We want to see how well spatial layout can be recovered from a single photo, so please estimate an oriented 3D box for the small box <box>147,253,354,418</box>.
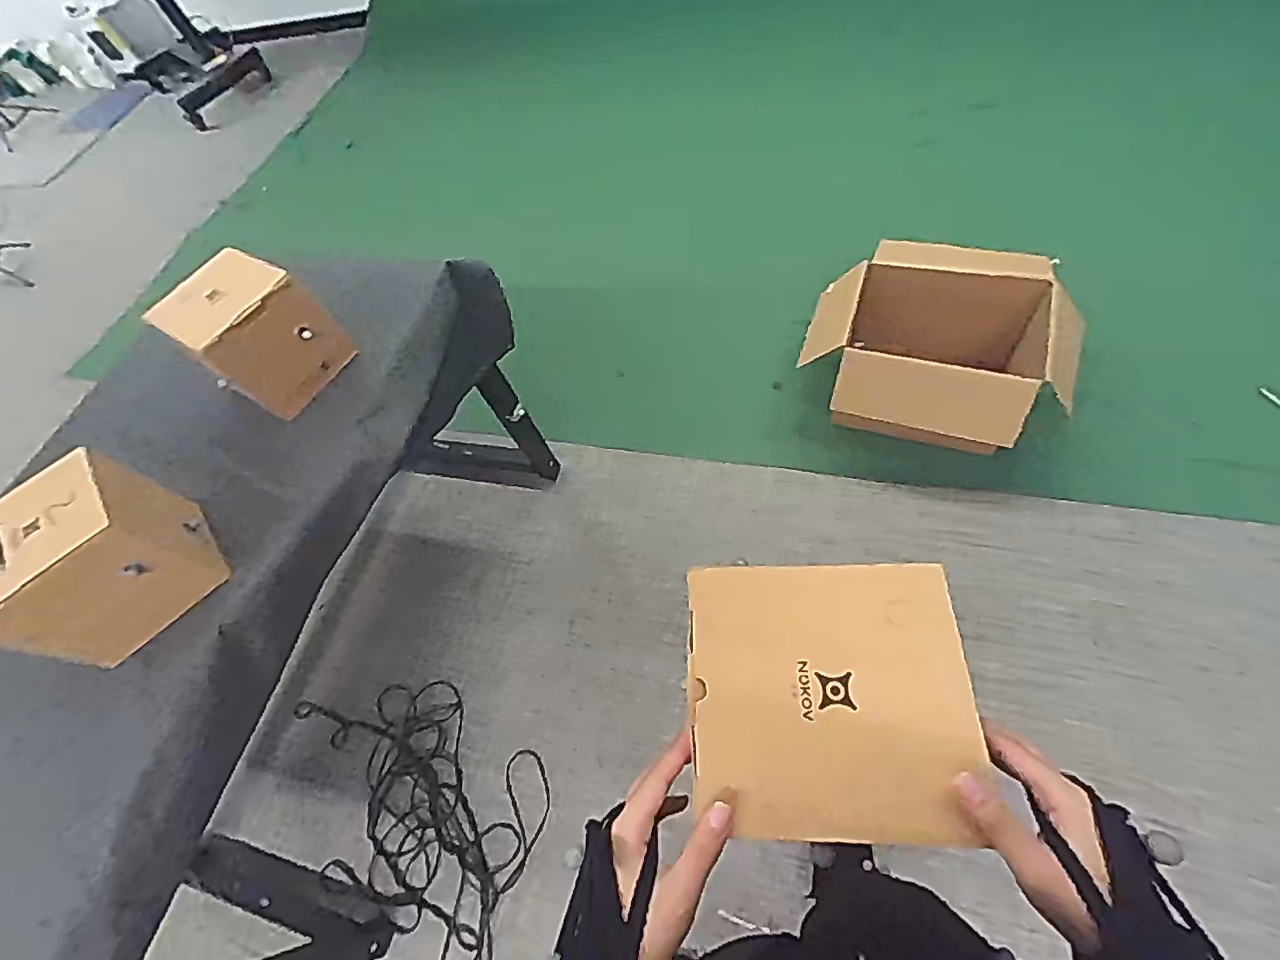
[{"bbox_3d":[-0.603,-0.223,0.859,0.179,0.176,0.168,25,67,25],"label":"small box"}]
